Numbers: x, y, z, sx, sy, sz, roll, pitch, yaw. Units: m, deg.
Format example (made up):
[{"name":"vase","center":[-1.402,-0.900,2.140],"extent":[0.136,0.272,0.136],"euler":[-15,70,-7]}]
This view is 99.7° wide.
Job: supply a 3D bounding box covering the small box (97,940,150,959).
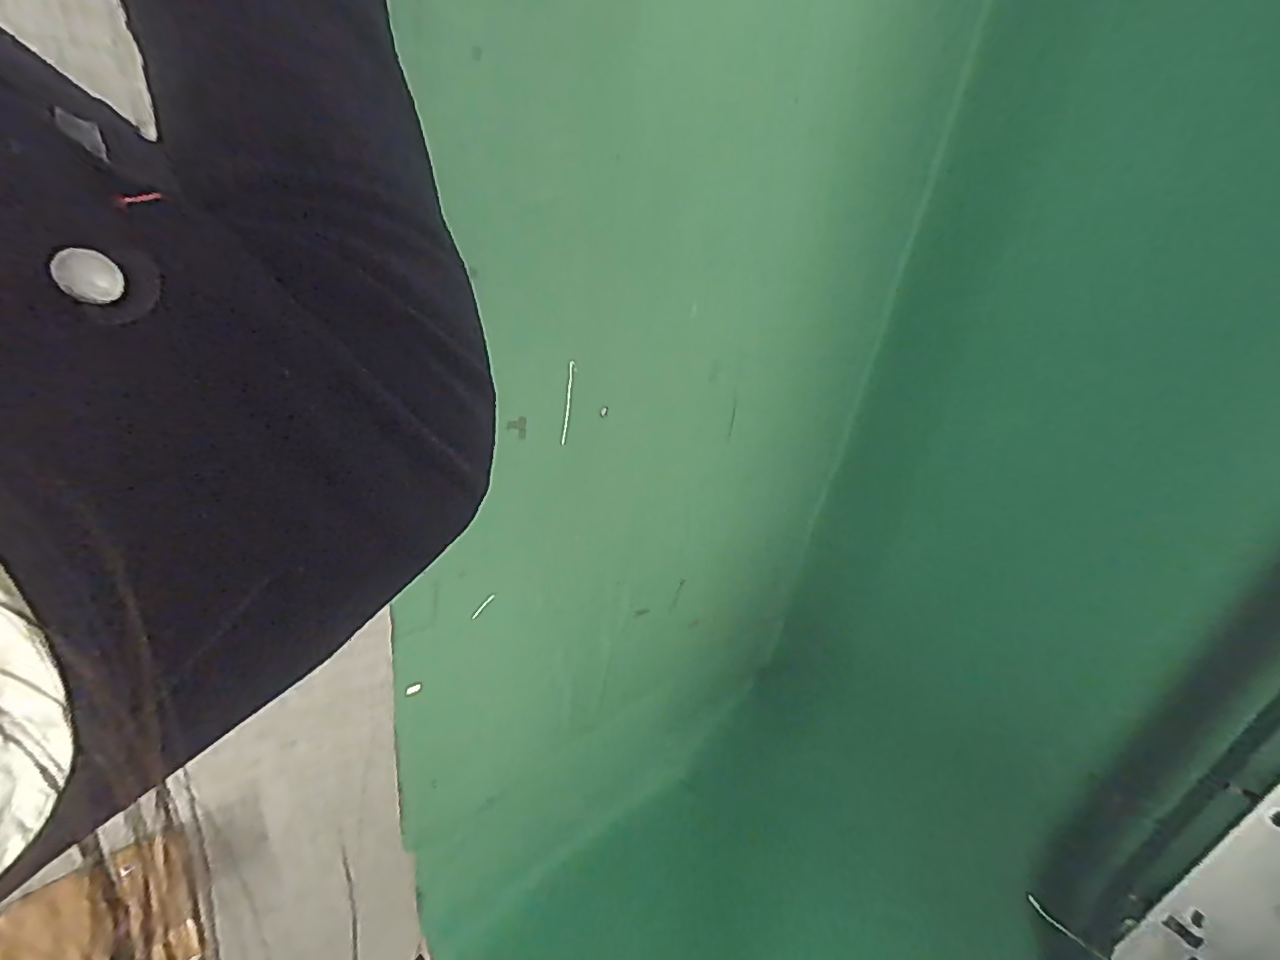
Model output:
[{"name":"small box","center":[-1.239,1.229,1.249],"extent":[0.168,0.176,0.179],"euler":[-20,128,-41]}]
